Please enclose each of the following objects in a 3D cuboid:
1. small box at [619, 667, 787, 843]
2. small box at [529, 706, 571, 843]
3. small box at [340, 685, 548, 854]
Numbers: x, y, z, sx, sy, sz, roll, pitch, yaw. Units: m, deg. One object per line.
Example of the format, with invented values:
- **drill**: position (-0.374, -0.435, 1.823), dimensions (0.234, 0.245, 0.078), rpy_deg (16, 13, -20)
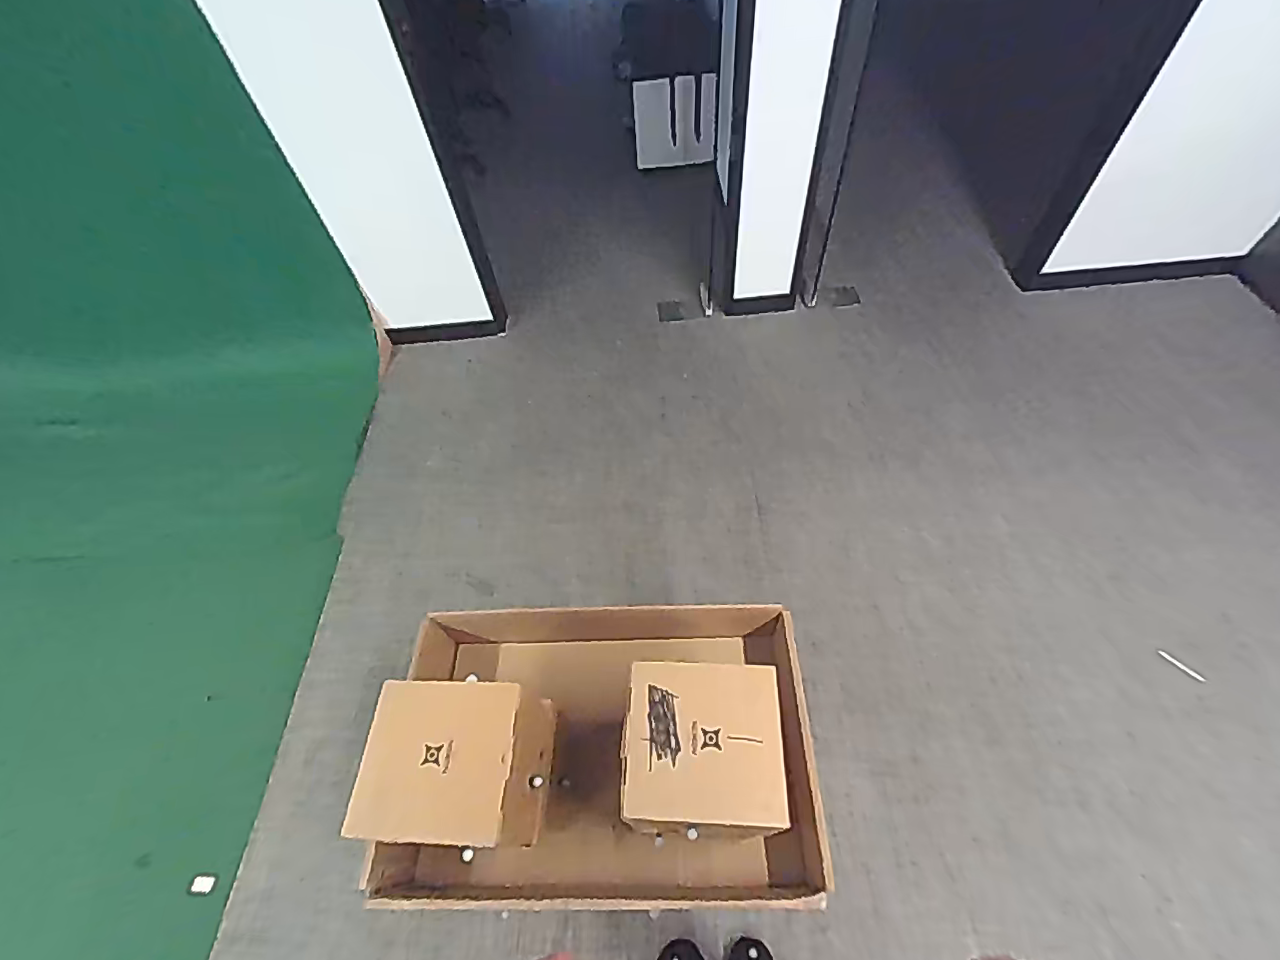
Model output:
- **small box**: position (0.075, 0.340, 0.664), dimensions (0.179, 0.176, 0.168), rpy_deg (1, 54, 5)
- **small box**: position (-0.213, 0.447, 0.820), dimensions (0.179, 0.176, 0.168), rpy_deg (-1, 55, 4)
- **small box**: position (-0.227, 0.366, 0.680), dimensions (0.179, 0.176, 0.168), rpy_deg (0, 55, 4)
